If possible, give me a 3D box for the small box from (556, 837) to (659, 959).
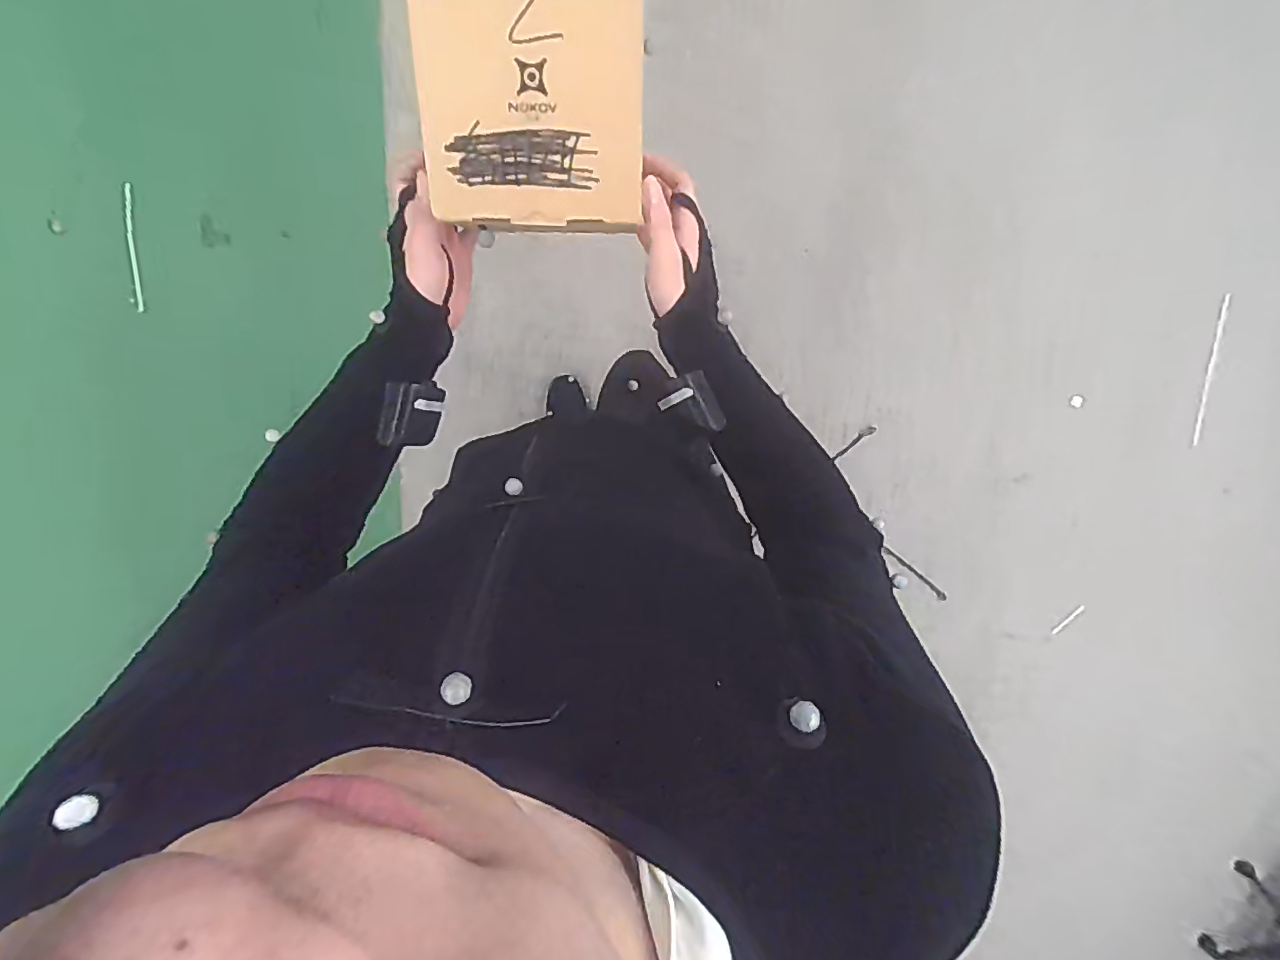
[{"bbox_3d":[-0.055,0.770,0.947,0.168,0.176,0.179,-1,101,-4],"label":"small box"}]
